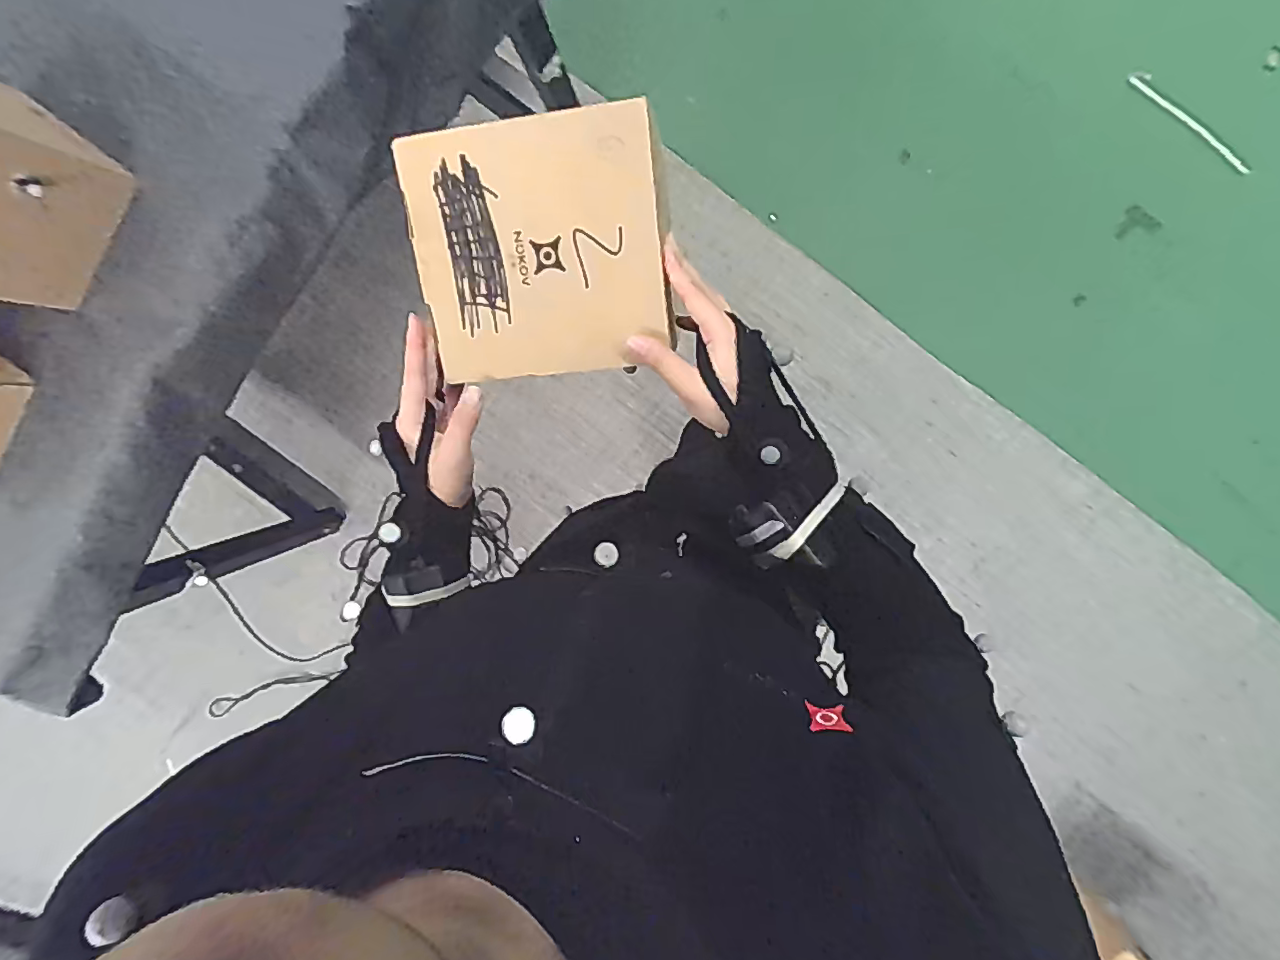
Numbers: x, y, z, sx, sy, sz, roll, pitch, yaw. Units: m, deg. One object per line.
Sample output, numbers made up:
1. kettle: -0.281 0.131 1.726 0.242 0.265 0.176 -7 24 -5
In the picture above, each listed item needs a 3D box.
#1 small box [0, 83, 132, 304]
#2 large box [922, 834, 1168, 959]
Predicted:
1. small box: -0.677 -0.304 0.541 0.168 0.176 0.179 37 102 1
2. large box: 0.970 1.148 1.258 0.320 0.320 0.408 44 101 -1
